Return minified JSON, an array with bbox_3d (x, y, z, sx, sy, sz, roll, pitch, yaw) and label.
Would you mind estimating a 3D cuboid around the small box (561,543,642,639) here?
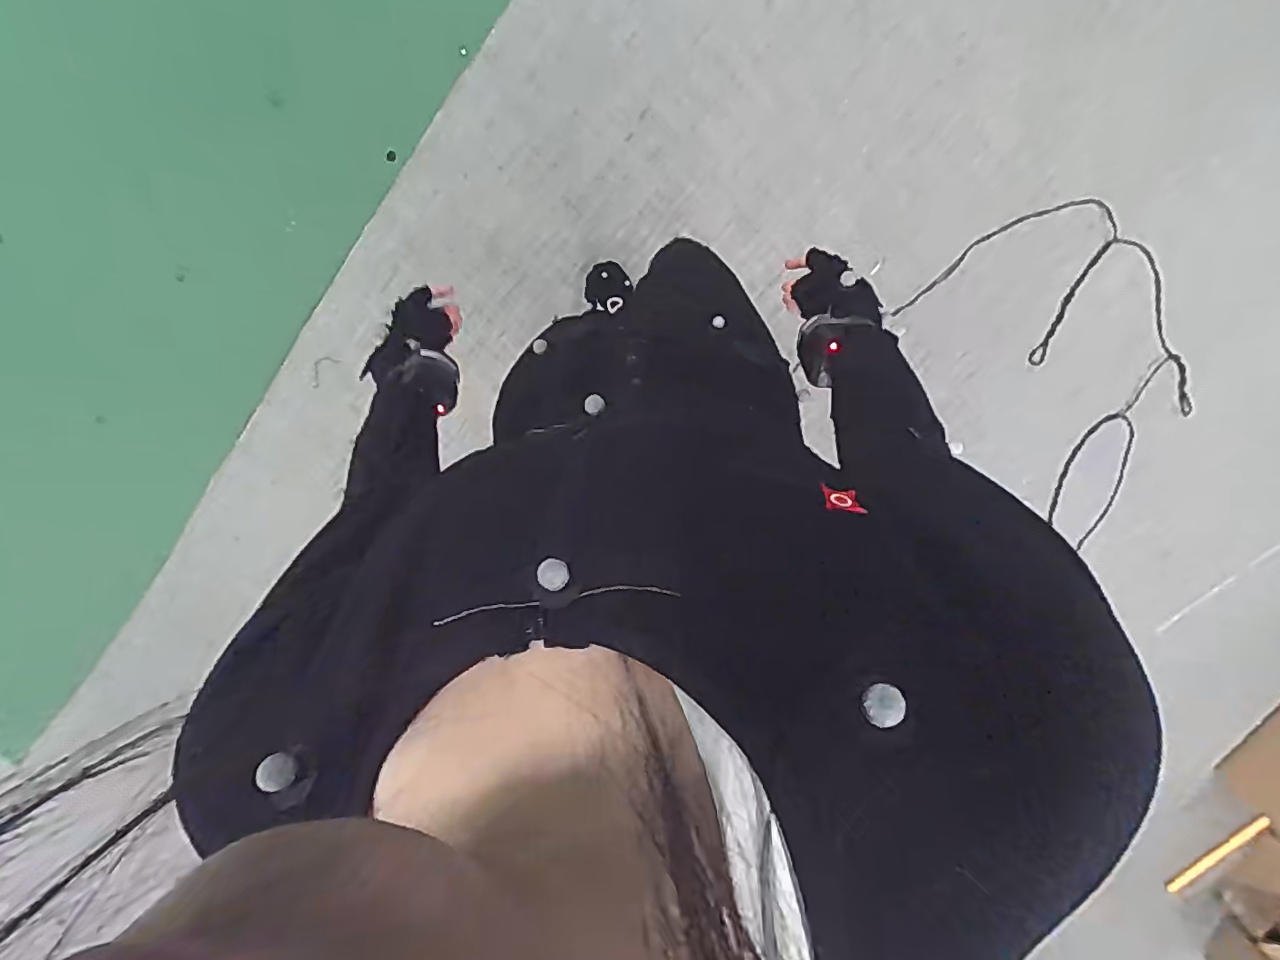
[{"bbox_3d":[-0.110,0.314,1.562,0.168,0.176,0.179,31,109,-12],"label":"small box"}]
